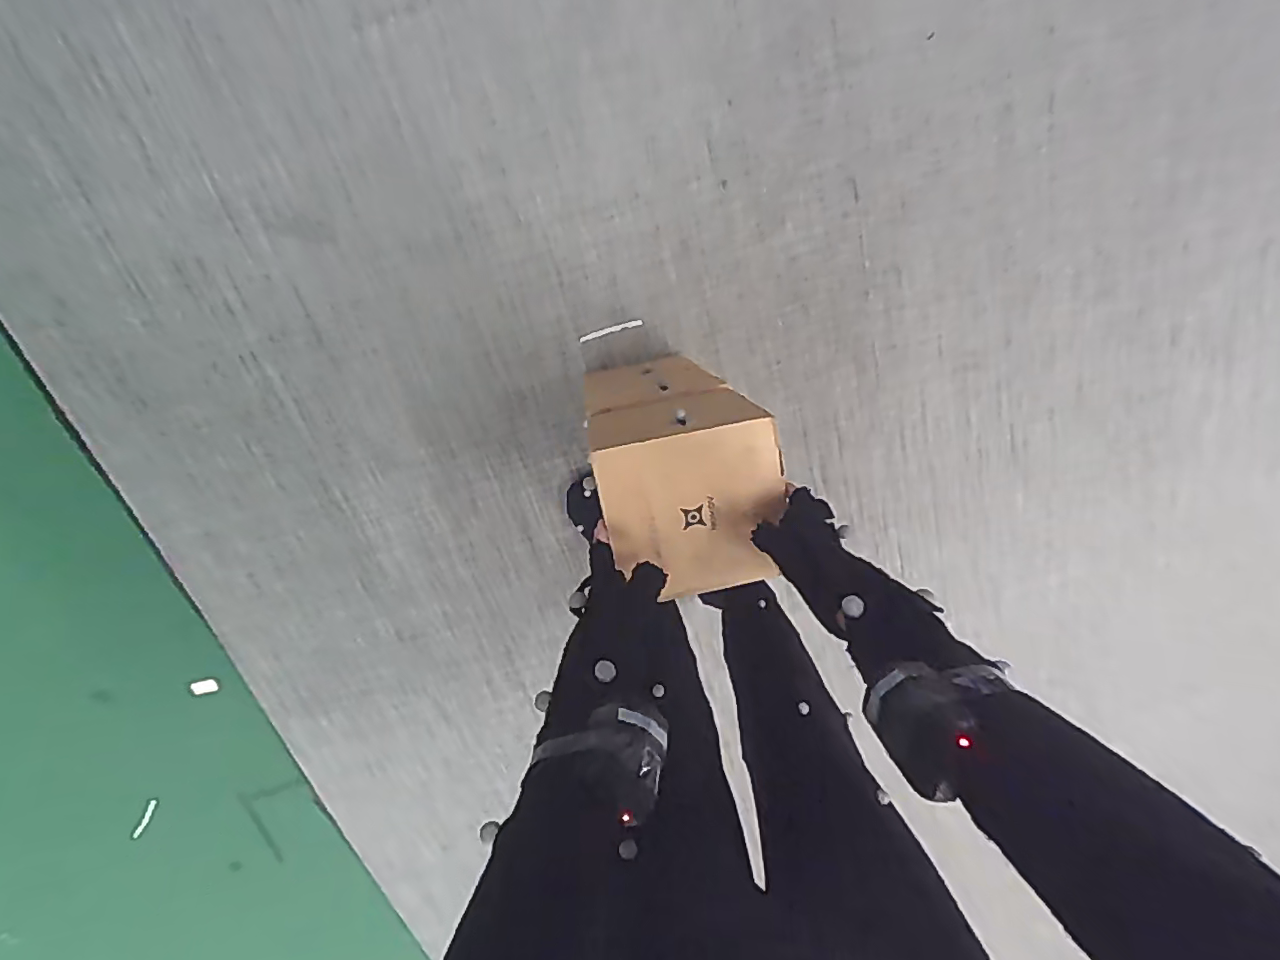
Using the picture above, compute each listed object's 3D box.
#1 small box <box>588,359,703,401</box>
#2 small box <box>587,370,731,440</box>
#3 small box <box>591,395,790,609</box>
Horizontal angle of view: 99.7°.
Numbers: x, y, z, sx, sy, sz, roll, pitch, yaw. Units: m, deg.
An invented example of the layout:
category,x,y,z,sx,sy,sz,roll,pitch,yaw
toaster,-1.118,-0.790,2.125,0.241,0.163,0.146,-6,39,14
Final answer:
category,x,y,z,sx,sy,sz,roll,pitch,yaw
small box,0.014,-0.098,0.896,0.179,0.176,0.168,-11,110,-1
small box,0.030,-0.044,0.745,0.179,0.176,0.168,-13,111,-1
small box,0.046,0.012,0.592,0.179,0.176,0.168,-12,108,-1
